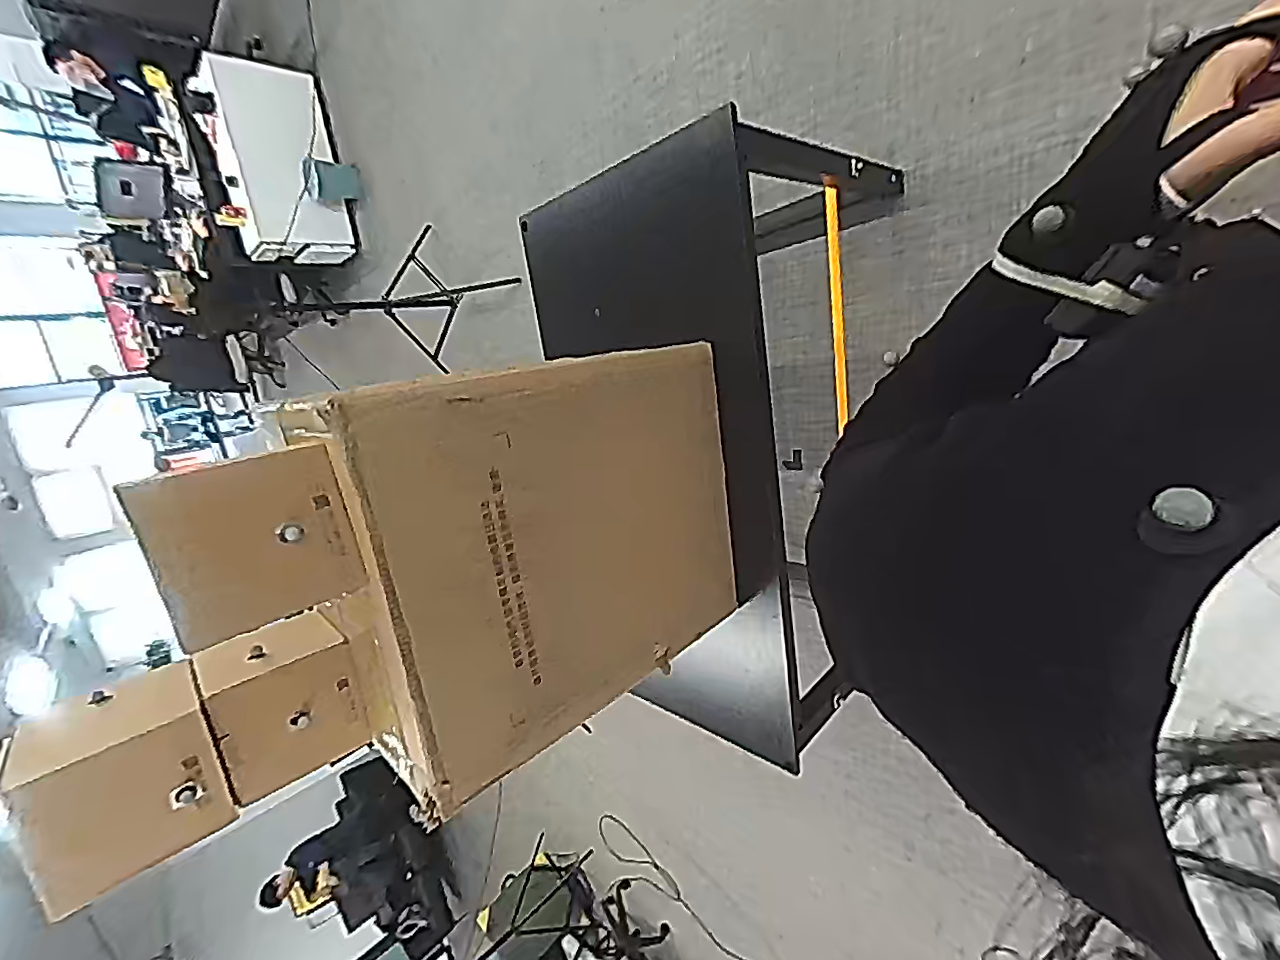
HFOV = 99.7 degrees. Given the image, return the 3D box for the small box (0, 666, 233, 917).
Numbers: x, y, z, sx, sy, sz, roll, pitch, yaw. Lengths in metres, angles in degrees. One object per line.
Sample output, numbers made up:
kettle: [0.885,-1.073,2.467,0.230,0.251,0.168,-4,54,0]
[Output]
small box: [-0.625,0.353,0.659,0.179,0.176,0.168,8,111,45]

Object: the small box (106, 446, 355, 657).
small box: [-0.439,0.061,0.592,0.179,0.176,0.168,1,108,46]

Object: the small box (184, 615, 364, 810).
small box: [-0.518,0.315,0.778,0.179,0.176,0.168,6,108,46]
